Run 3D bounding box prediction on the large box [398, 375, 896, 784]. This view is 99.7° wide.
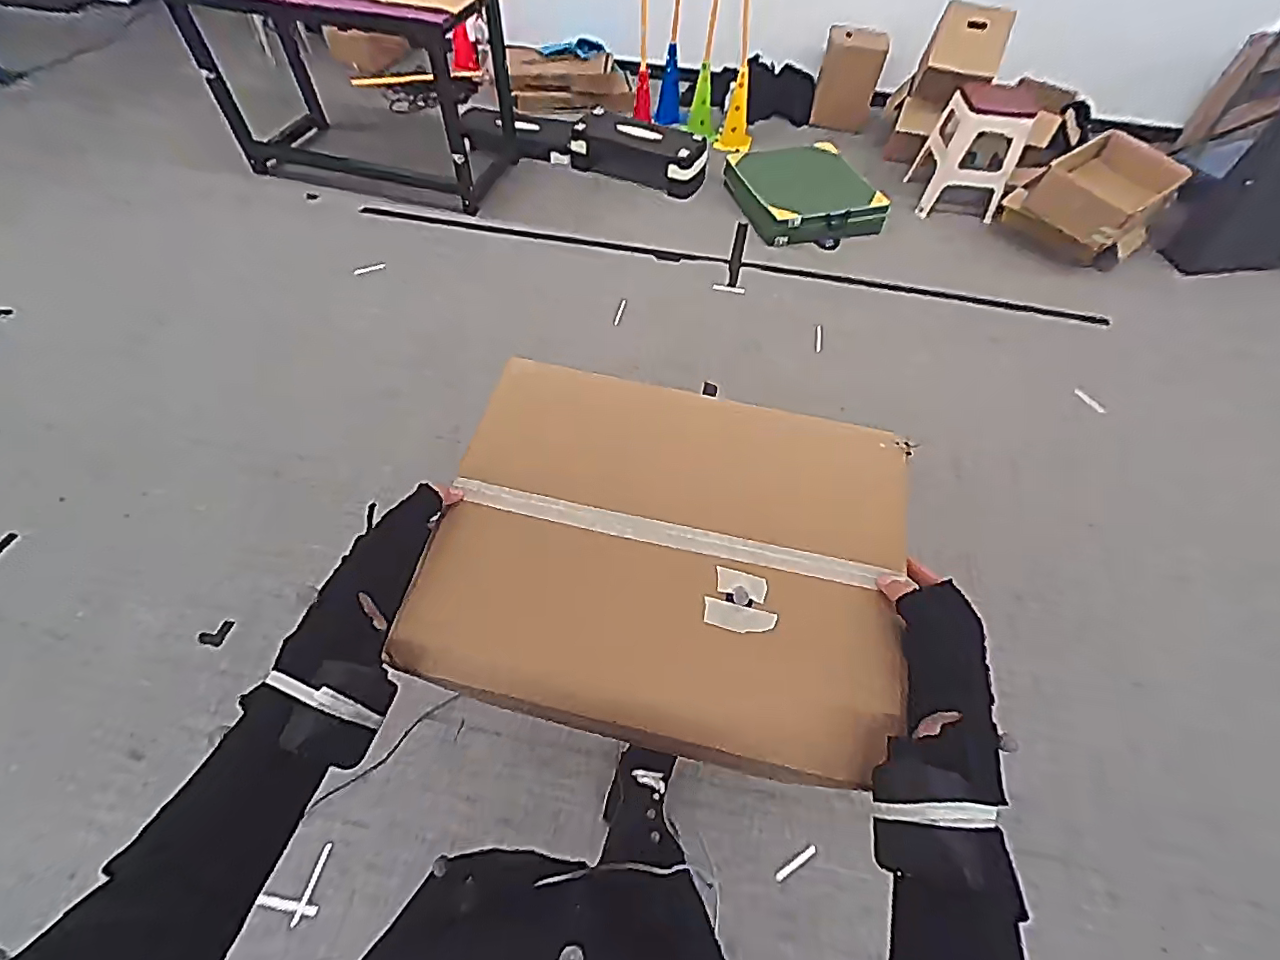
[{"bbox_3d":[0.022,0.127,0.617,0.408,0.320,0.320,12,64,4],"label":"large box"}]
